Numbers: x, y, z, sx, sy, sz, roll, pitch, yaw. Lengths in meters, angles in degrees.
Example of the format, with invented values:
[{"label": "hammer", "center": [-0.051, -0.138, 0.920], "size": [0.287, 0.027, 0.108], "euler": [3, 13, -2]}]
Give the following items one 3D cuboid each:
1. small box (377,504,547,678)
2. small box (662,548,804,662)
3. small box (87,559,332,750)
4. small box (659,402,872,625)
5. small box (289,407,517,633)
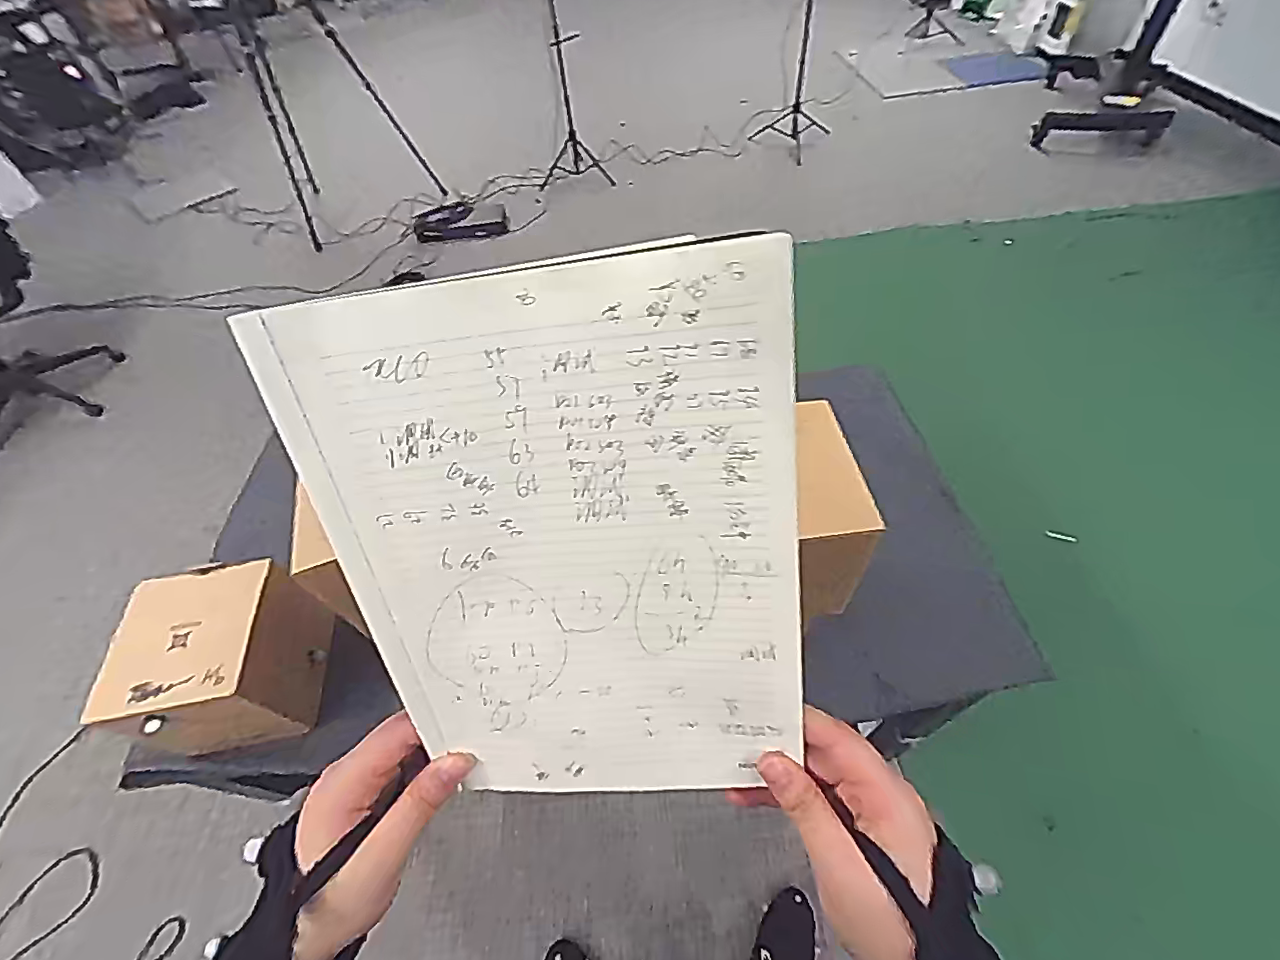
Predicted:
[{"label": "small box", "center": [-0.245, 0.148, 0.748], "size": [0.179, 0.176, 0.168], "euler": [-19, 54, -10]}, {"label": "small box", "center": [0.126, 0.122, 0.728], "size": [0.168, 0.176, 0.179], "euler": [5, 53, 11]}, {"label": "small box", "center": [-0.534, 0.230, 0.708], "size": [0.168, 0.176, 0.179], "euler": [-10, 52, -3]}, {"label": "small box", "center": [0.118, 0.041, 0.584], "size": [0.179, 0.176, 0.168], "euler": [-8, 51, 1]}, {"label": "small box", "center": [-0.257, 0.050, 0.615], "size": [0.179, 0.176, 0.168], "euler": [-17, 53, -8]}]
